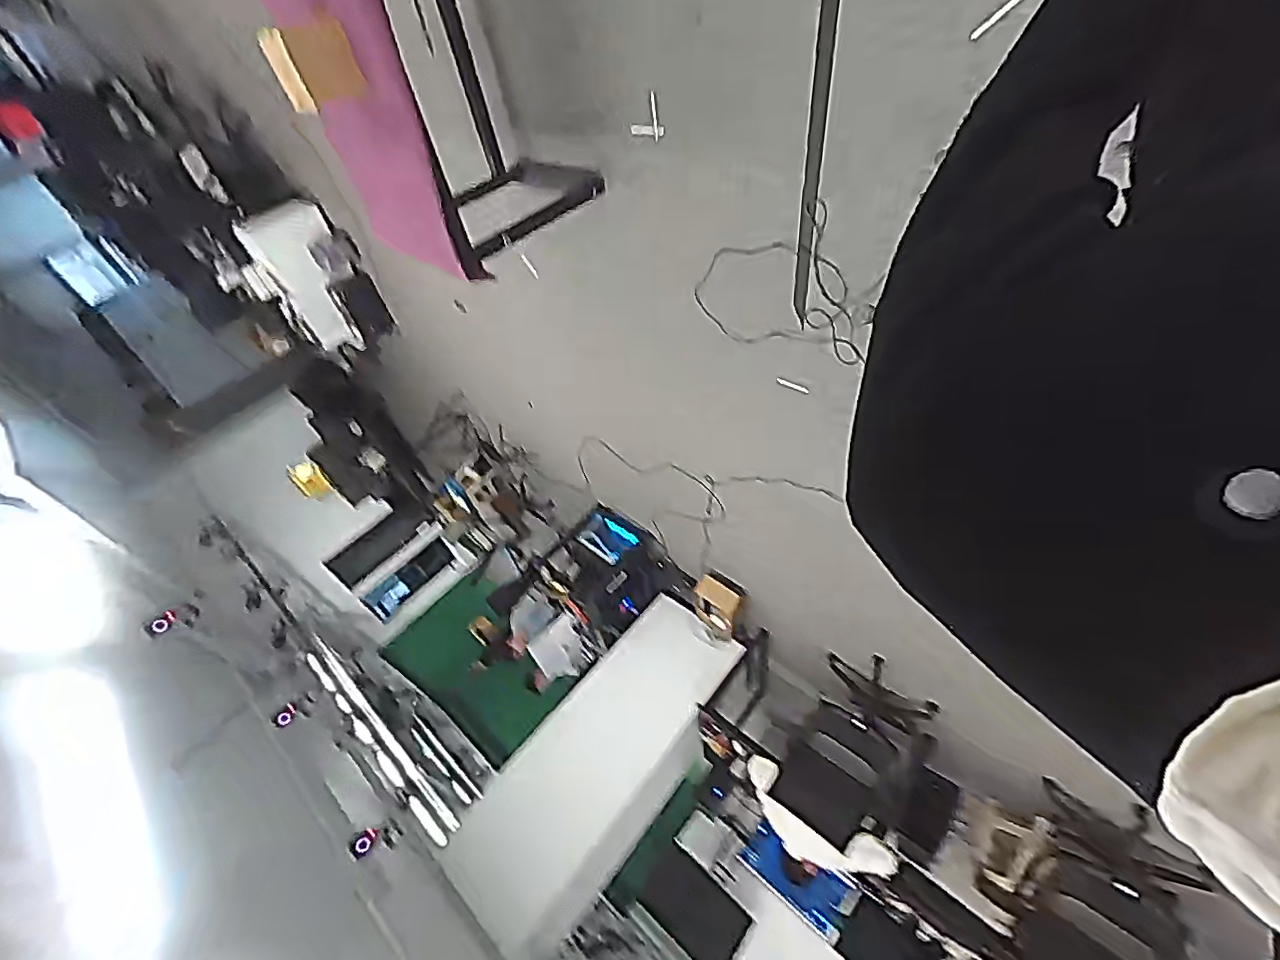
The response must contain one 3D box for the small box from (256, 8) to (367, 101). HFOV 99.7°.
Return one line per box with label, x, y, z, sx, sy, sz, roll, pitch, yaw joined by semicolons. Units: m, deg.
small box;-0.897;-1.173;1.490;0.168;0.176;0.179;30;149;34
